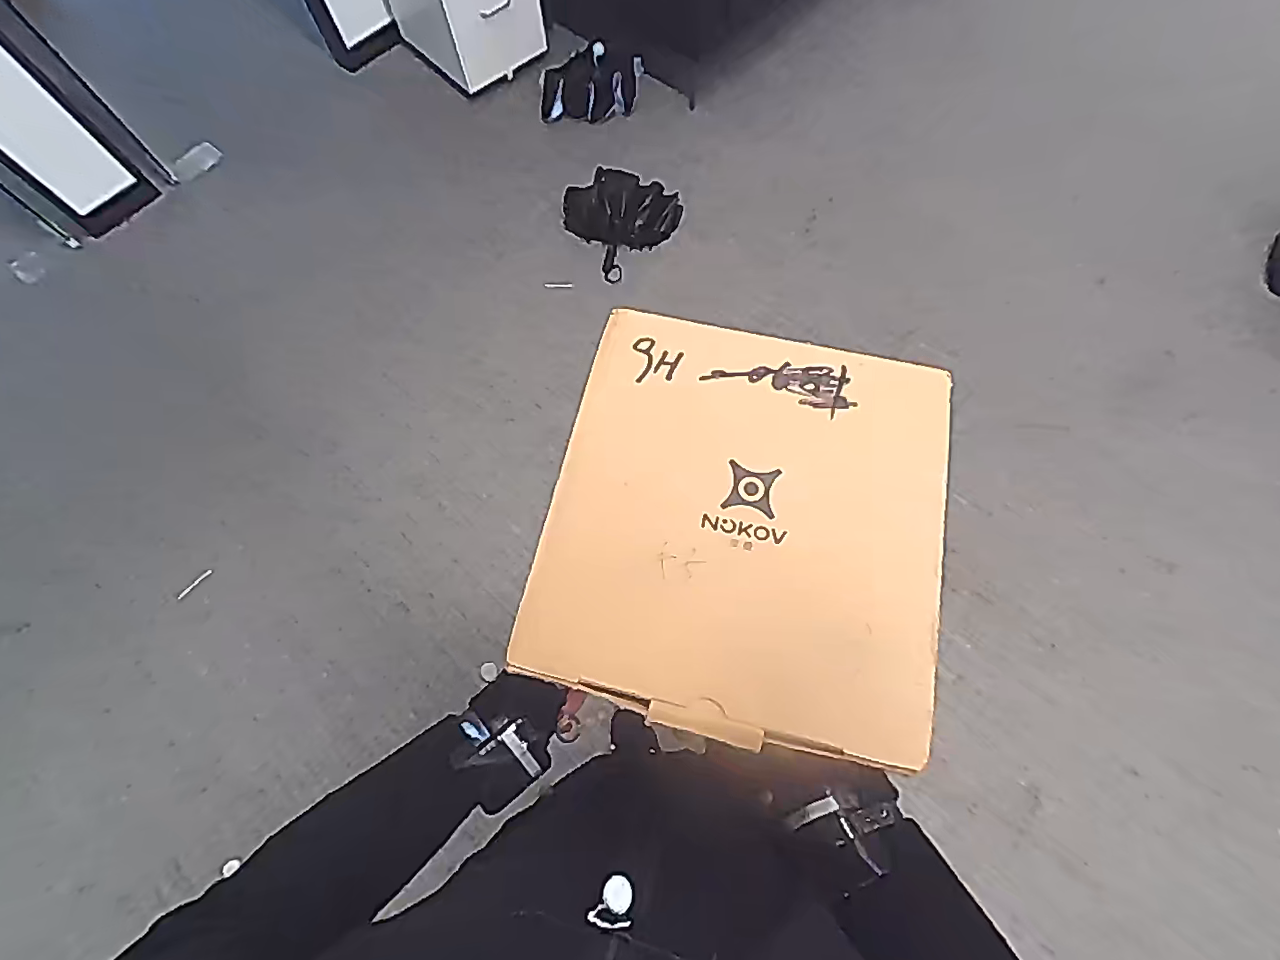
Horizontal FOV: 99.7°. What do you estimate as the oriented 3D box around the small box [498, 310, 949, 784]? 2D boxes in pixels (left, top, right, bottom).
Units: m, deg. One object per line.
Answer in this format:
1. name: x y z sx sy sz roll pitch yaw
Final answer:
1. small box: 0.044 0.038 0.306 0.168 0.176 0.179 12 73 6
